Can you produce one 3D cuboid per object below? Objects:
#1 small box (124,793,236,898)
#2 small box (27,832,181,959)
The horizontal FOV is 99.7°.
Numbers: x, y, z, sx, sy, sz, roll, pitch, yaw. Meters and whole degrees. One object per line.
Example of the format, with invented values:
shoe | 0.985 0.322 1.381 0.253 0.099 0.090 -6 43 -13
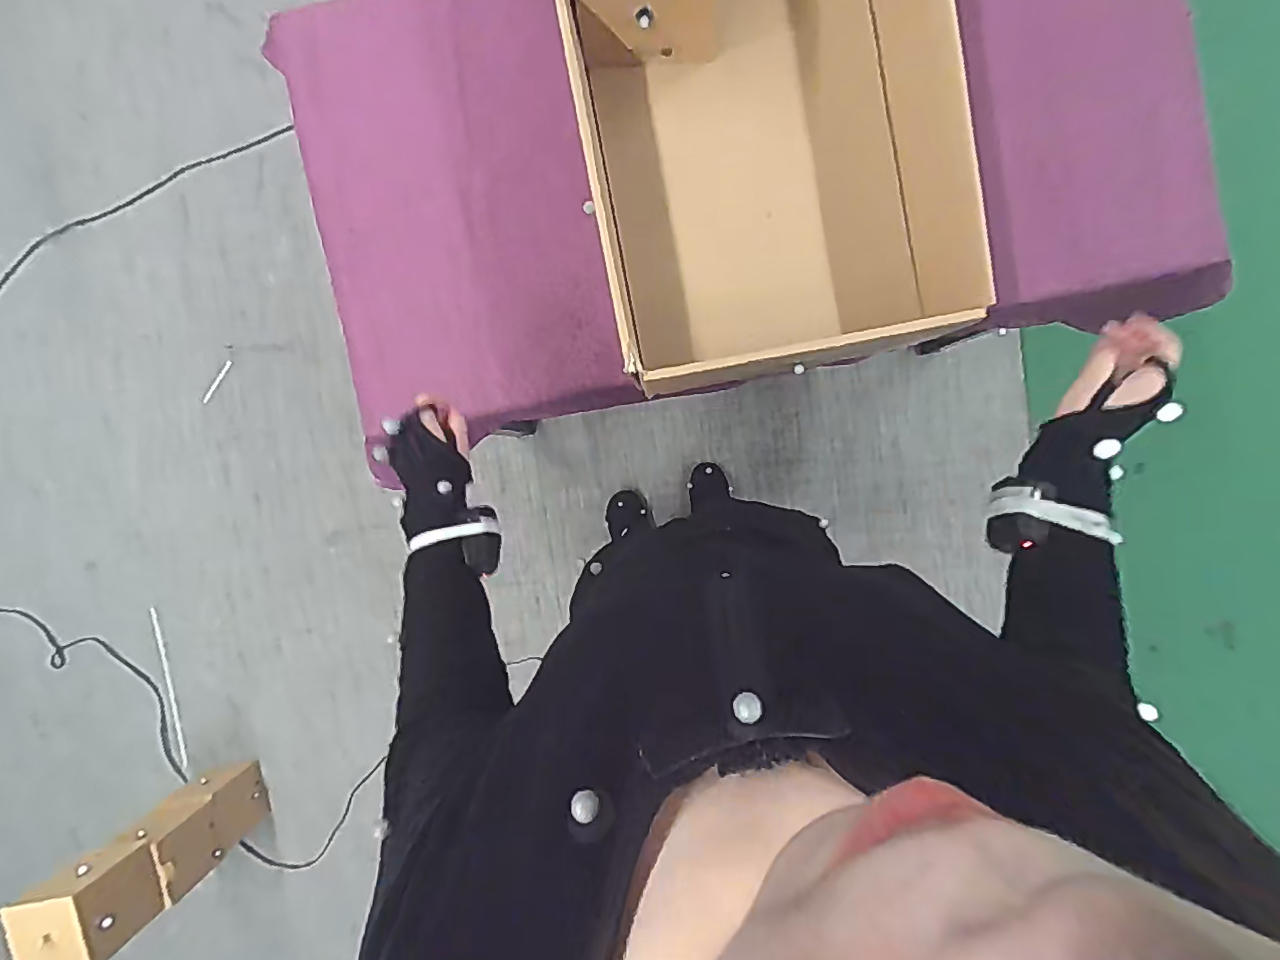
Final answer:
small box | -1.188 0.940 1.393 0.179 0.176 0.168 -12 92 5
small box | -1.207 0.938 1.231 0.168 0.176 0.179 -11 94 4
